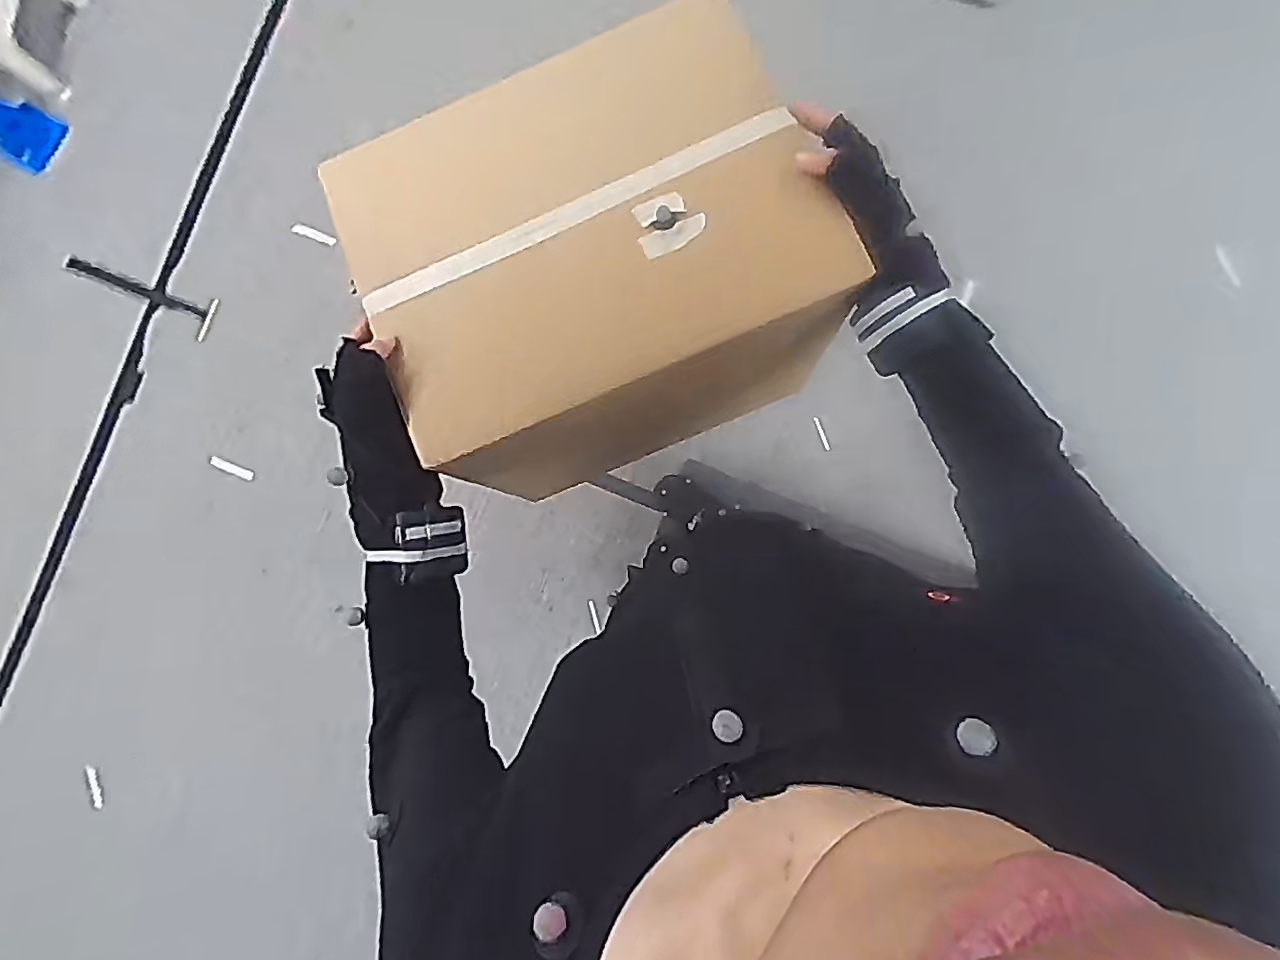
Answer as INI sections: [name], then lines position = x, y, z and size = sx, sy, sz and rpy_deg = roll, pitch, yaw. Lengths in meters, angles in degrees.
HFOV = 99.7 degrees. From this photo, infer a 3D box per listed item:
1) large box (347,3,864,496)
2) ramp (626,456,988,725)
[large box]
position = -0.033, -0.211, 0.632
size = 0.408, 0.320, 0.320
rpy_deg = -22, 80, 2
[ramp]
position = 0.501, 0.327, 1.556
size = 0.991, 0.206, 0.509
rpy_deg = 19, 87, 3
